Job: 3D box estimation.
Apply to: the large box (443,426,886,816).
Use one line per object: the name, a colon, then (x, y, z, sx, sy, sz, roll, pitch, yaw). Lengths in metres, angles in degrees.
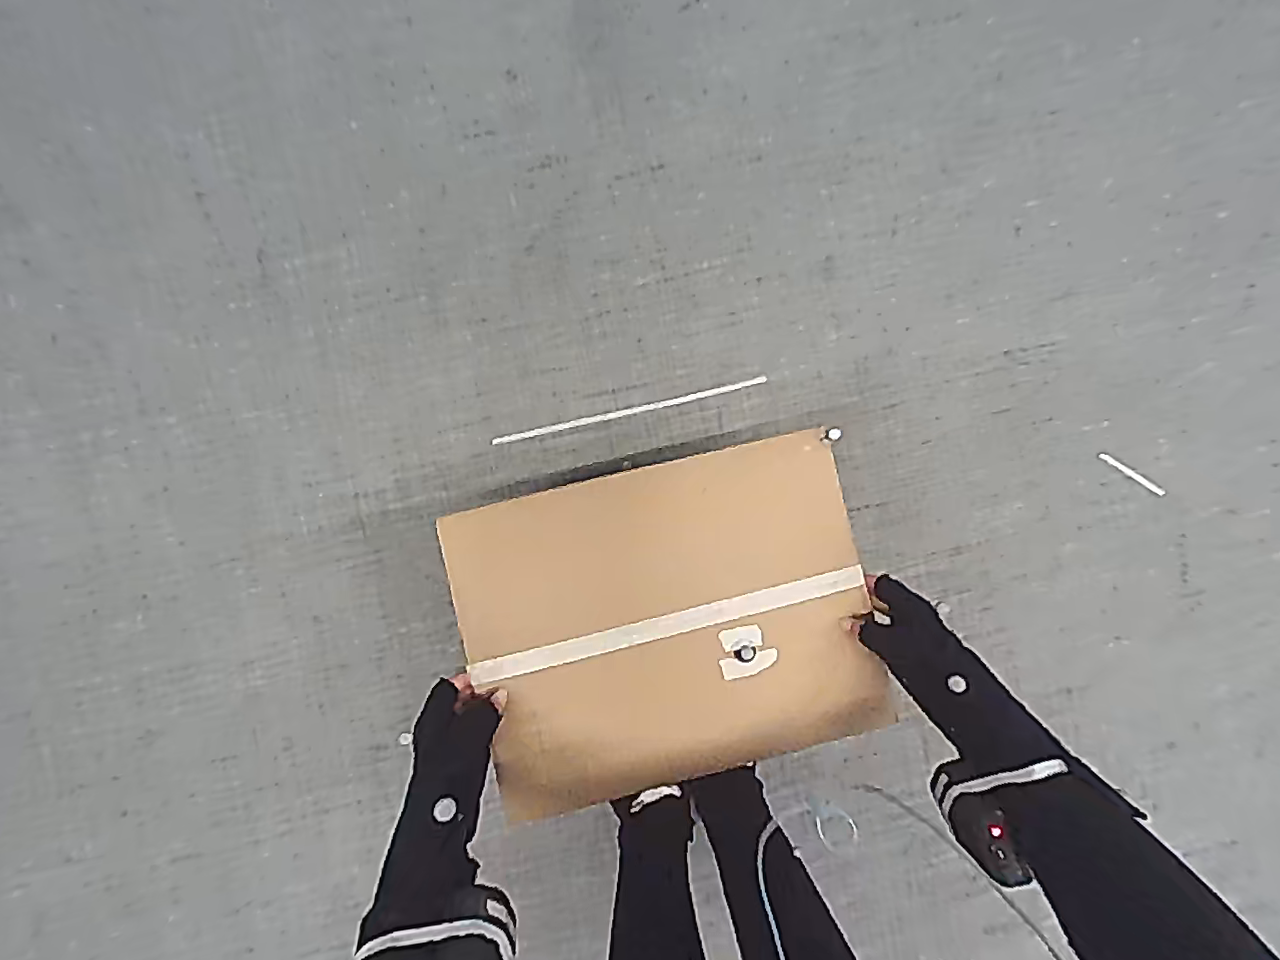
large box: (0.020, 0.144, 0.700, 0.408, 0.320, 0.320, -14, 90, -3)
